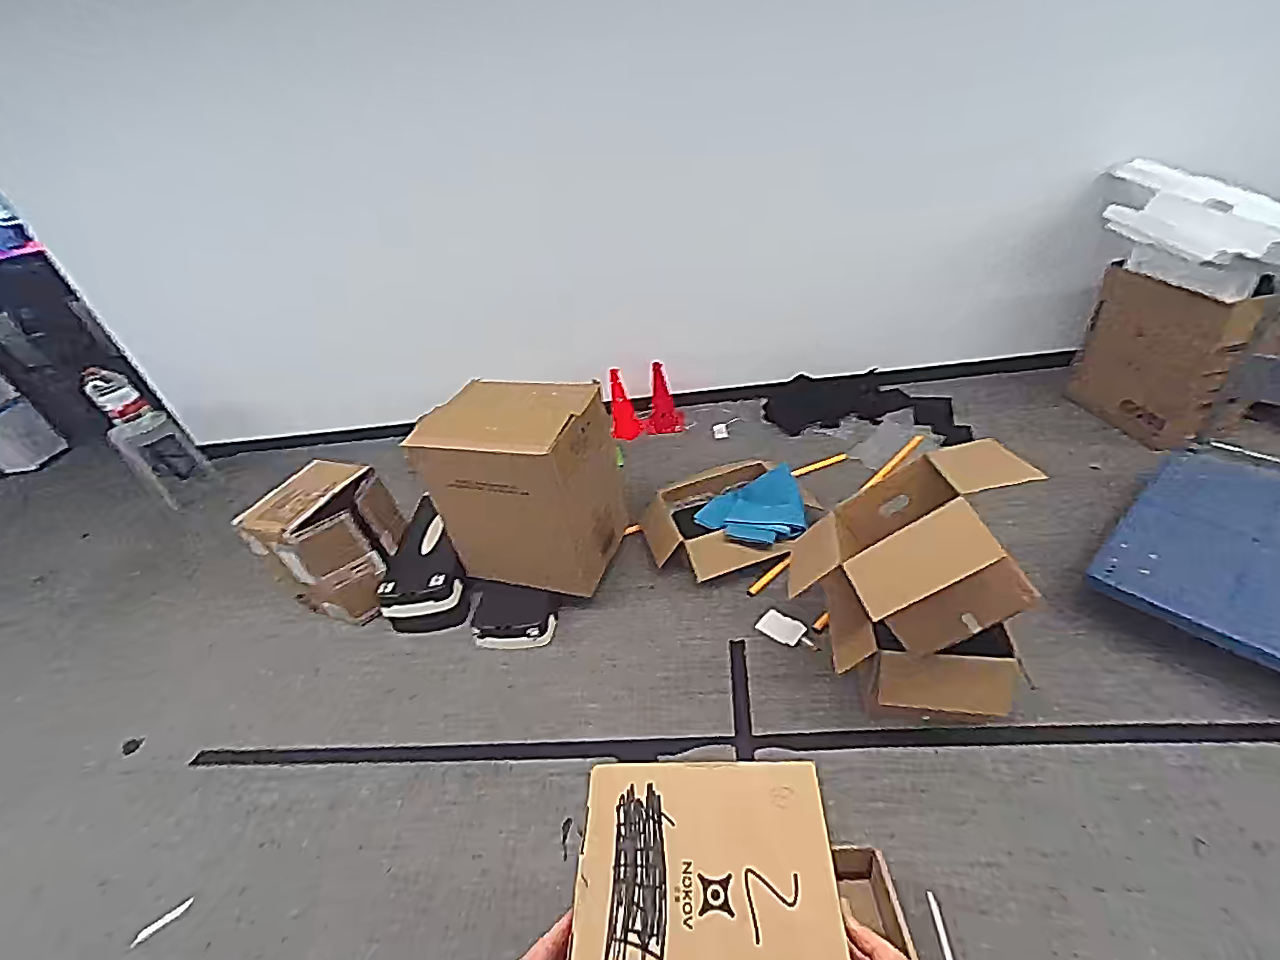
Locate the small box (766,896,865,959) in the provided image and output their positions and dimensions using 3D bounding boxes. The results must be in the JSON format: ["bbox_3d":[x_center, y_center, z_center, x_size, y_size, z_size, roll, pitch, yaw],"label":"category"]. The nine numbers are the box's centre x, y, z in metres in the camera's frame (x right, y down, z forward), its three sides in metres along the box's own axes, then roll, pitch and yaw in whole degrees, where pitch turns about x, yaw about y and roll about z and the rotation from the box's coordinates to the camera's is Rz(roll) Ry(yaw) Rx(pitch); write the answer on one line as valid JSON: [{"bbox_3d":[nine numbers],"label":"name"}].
[{"bbox_3d":[0.337,0.930,1.030,0.168,0.176,0.179,-8,37,5],"label":"small box"}]

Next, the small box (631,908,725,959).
[{"bbox_3d":[0.080,0.963,1.049,0.179,0.176,0.168,-8,36,3],"label":"small box"}]
